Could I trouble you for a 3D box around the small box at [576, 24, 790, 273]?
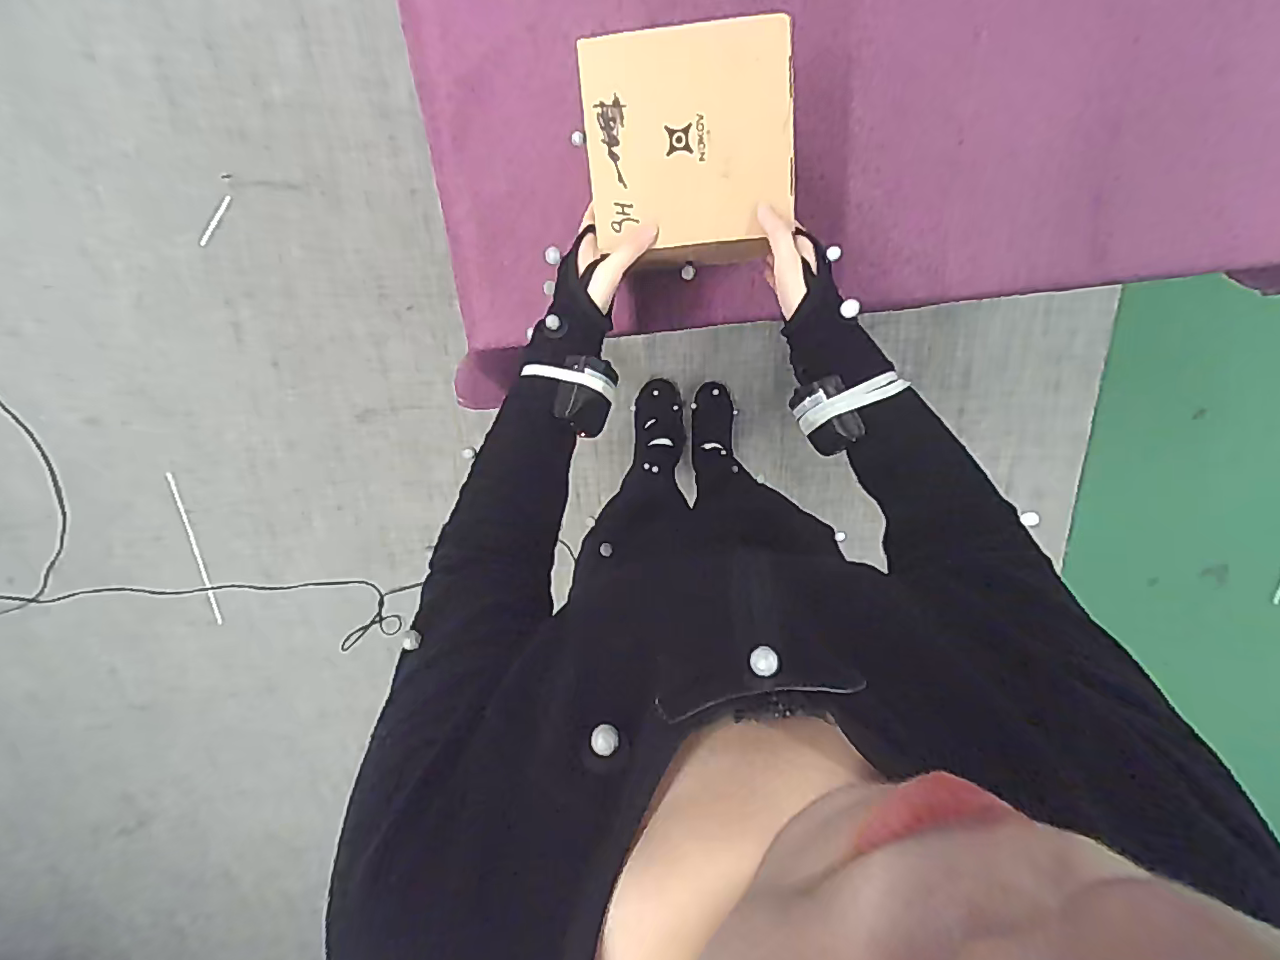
[{"bbox_3d":[0.040,-0.305,0.535,0.179,0.176,0.168,-4,105,3],"label":"small box"}]
